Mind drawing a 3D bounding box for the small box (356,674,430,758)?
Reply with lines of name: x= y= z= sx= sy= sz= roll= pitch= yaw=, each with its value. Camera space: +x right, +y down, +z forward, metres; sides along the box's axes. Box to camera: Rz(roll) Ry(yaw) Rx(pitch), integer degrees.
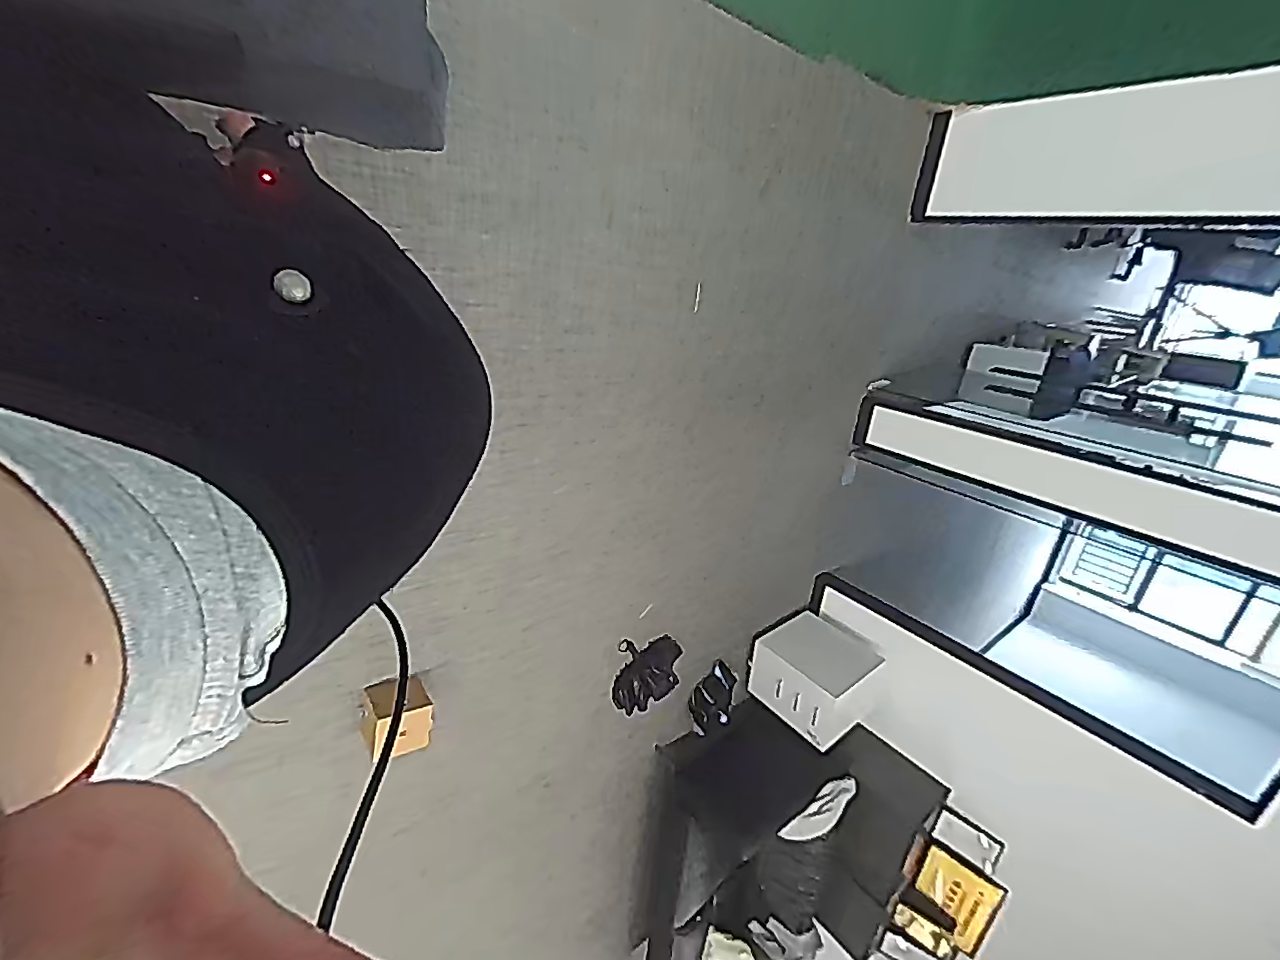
small box: x=-0.820 y=0.770 z=1.788 sx=0.179 sy=0.176 sz=0.168 roll=-1 pitch=110 yaw=-40
